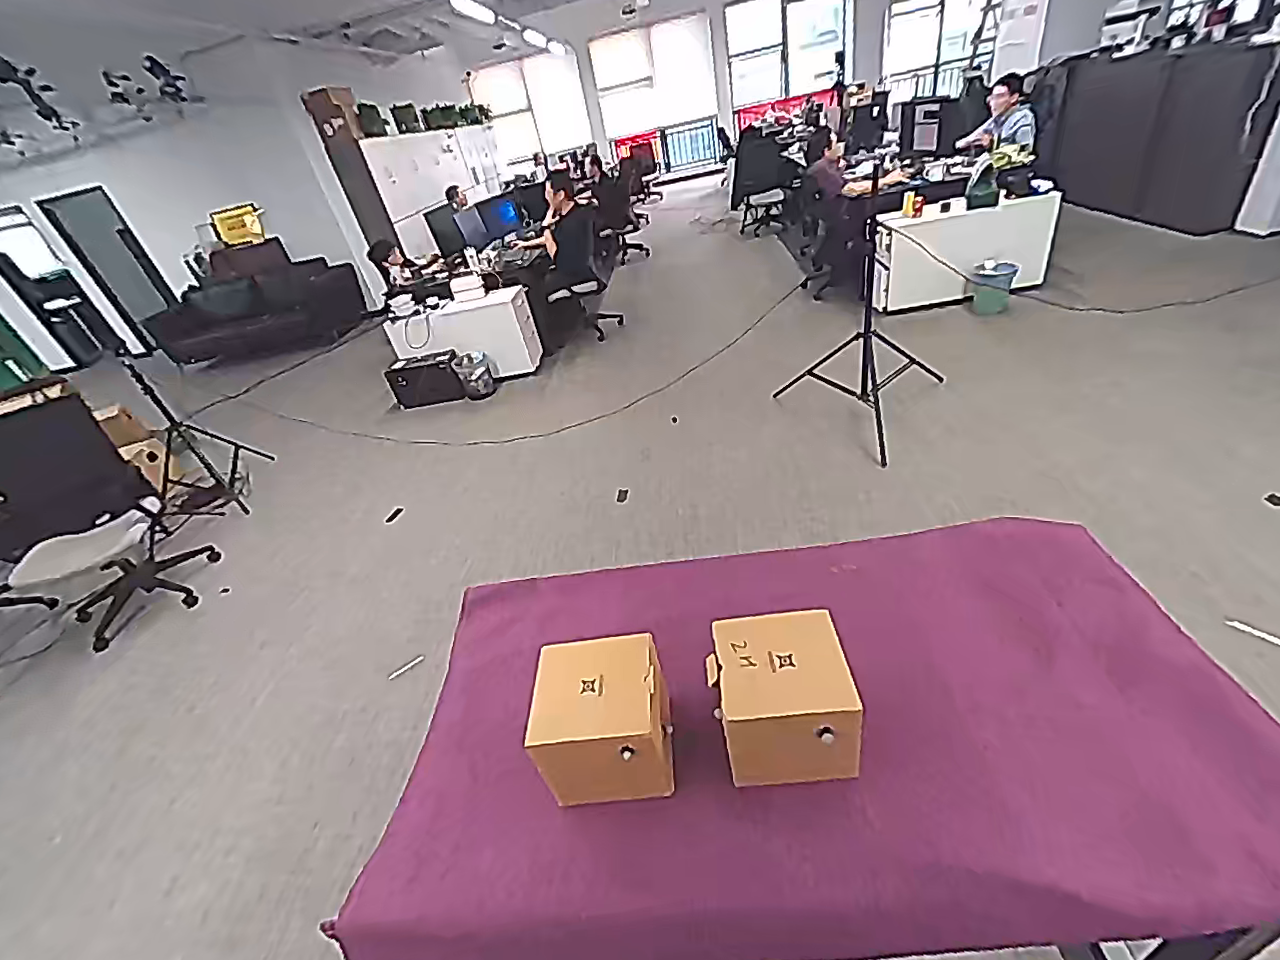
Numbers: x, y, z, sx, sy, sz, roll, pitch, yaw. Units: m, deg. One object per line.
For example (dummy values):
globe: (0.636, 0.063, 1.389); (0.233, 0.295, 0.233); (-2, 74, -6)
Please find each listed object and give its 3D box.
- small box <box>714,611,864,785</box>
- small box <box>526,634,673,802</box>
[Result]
small box: (0.209, 0.316, 0.787); (0.179, 0.176, 0.168); (-9, 33, 7)
small box: (-0.052, 0.361, 0.817); (0.179, 0.176, 0.168); (-9, 34, 5)
